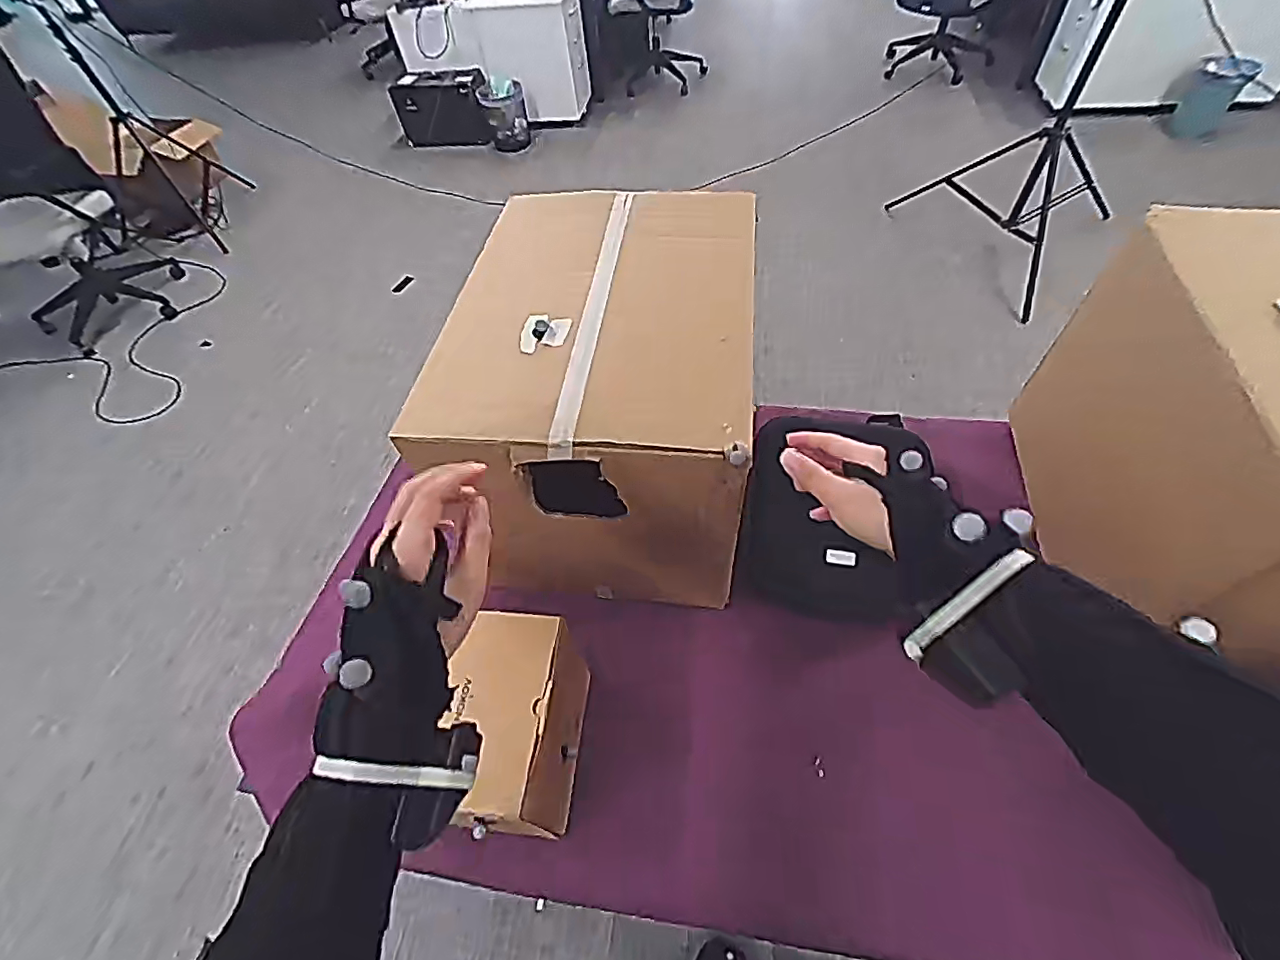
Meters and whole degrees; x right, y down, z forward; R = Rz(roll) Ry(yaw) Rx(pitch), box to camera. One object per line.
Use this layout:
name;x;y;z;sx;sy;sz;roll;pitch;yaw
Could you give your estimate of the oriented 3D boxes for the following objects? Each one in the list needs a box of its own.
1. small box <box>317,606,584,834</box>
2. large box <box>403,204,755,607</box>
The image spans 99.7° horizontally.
small box;-0.163;0.241;0.536;0.179;0.176;0.168;2;52;6
large box;-0.029;-0.093;0.687;0.320;0.320;0.408;2;56;8
